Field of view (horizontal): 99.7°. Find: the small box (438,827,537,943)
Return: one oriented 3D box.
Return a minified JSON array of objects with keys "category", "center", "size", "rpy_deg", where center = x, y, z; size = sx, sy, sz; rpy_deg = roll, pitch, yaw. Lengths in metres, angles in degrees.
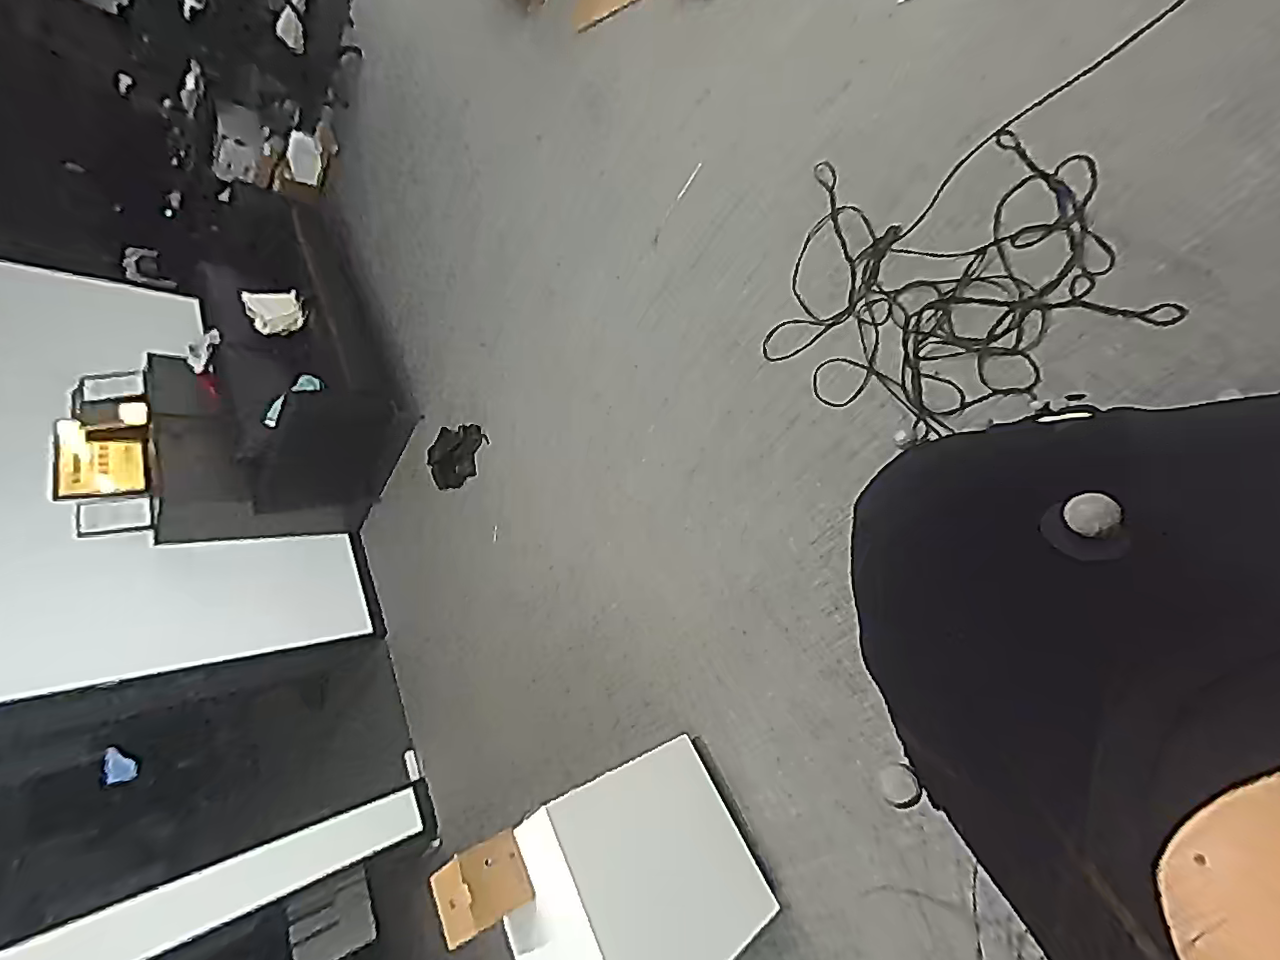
[{"category":"small box","center":[-0.386,1.029,1.384],"size":[0.179,0.176,0.168],"rpy_deg":[-52,56,31]}]
